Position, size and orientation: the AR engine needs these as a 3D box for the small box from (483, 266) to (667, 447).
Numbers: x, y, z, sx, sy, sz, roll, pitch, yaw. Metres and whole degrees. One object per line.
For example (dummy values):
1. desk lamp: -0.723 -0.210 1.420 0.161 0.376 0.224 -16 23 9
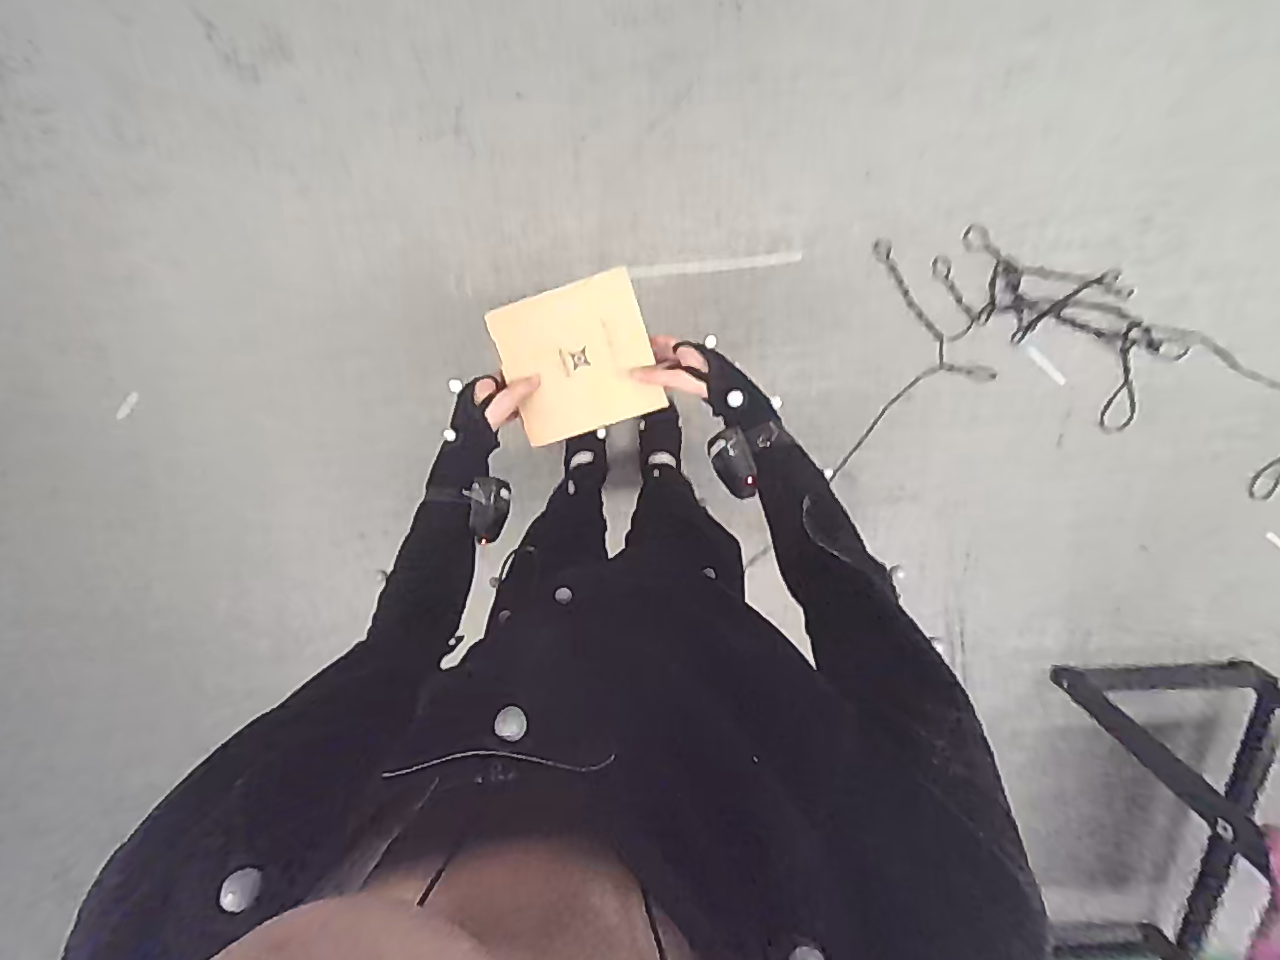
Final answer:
1. small box: -0.069 -0.148 0.691 0.179 0.176 0.168 -16 98 6
